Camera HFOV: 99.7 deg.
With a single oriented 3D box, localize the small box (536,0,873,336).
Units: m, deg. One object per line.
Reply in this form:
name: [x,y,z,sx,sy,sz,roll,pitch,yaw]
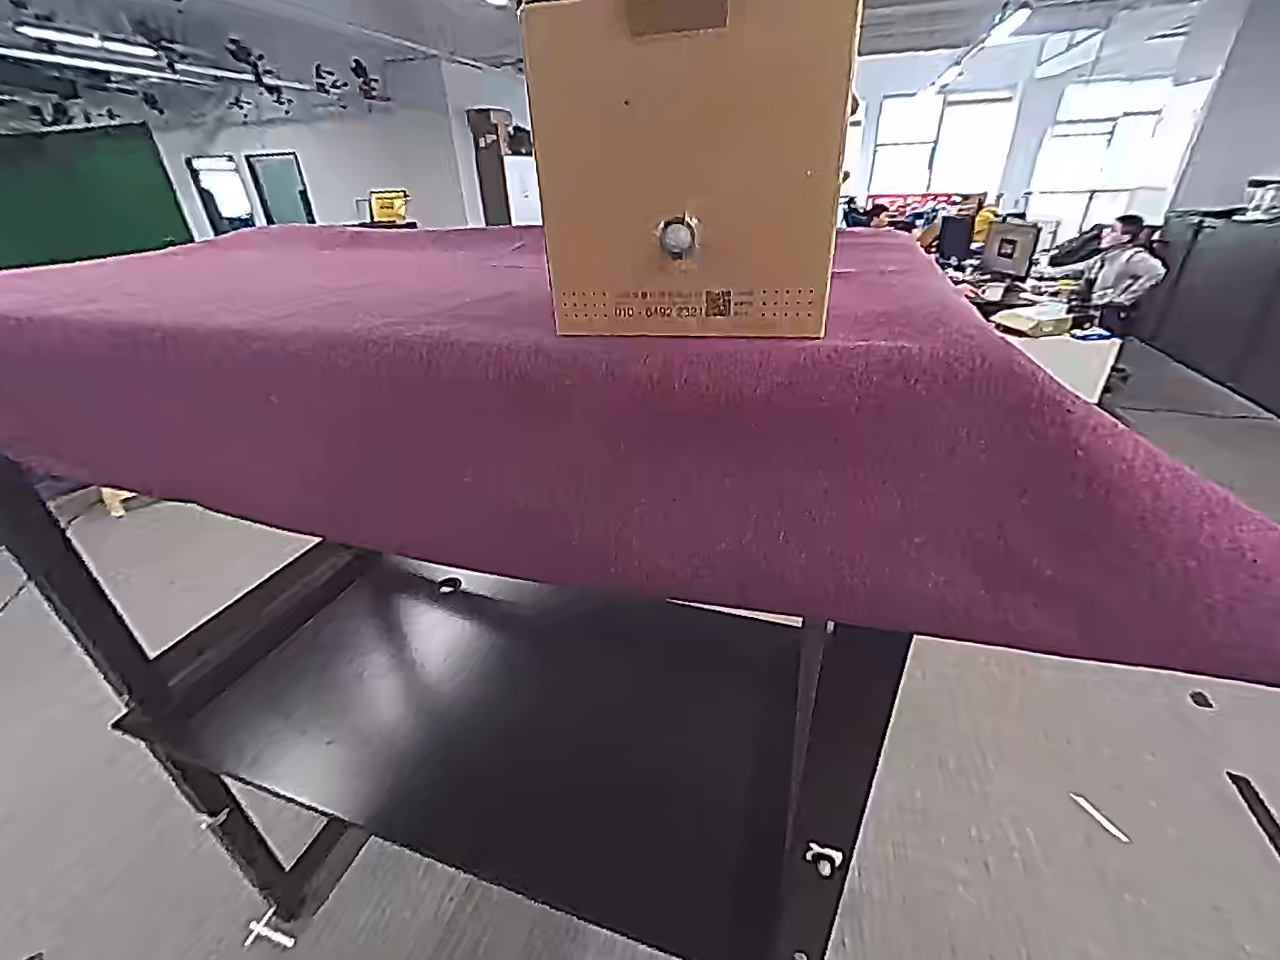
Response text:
small box: [0.046,-0.201,0.362,0.168,0.176,0.179,4,28,12]
